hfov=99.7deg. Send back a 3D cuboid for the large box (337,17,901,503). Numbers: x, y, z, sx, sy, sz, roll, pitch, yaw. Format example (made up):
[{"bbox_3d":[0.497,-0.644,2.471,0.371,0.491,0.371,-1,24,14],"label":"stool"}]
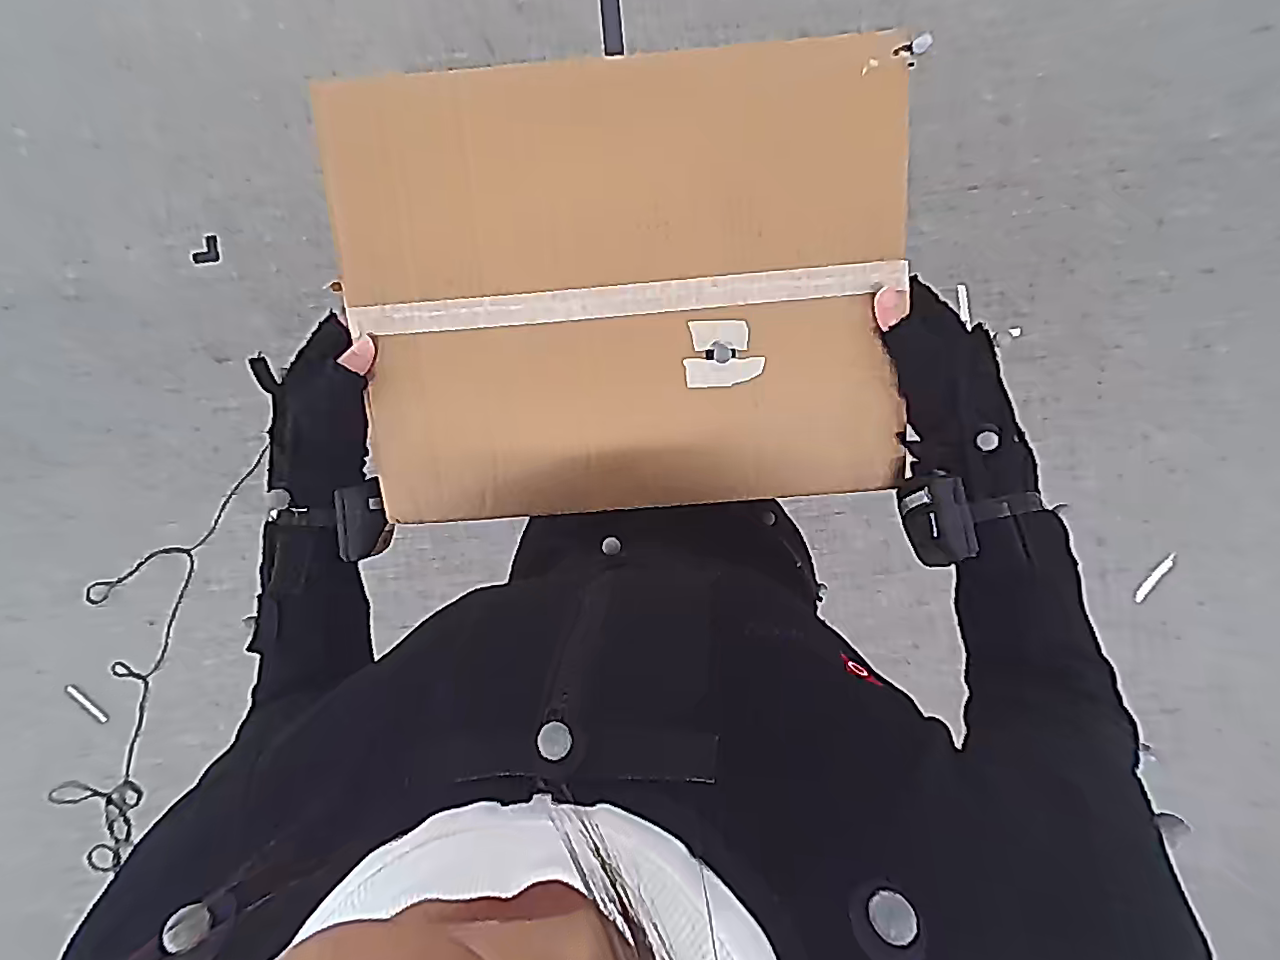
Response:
[{"bbox_3d":[-0.005,-0.179,0.553,0.408,0.320,0.320,-5,102,2],"label":"large box"}]
